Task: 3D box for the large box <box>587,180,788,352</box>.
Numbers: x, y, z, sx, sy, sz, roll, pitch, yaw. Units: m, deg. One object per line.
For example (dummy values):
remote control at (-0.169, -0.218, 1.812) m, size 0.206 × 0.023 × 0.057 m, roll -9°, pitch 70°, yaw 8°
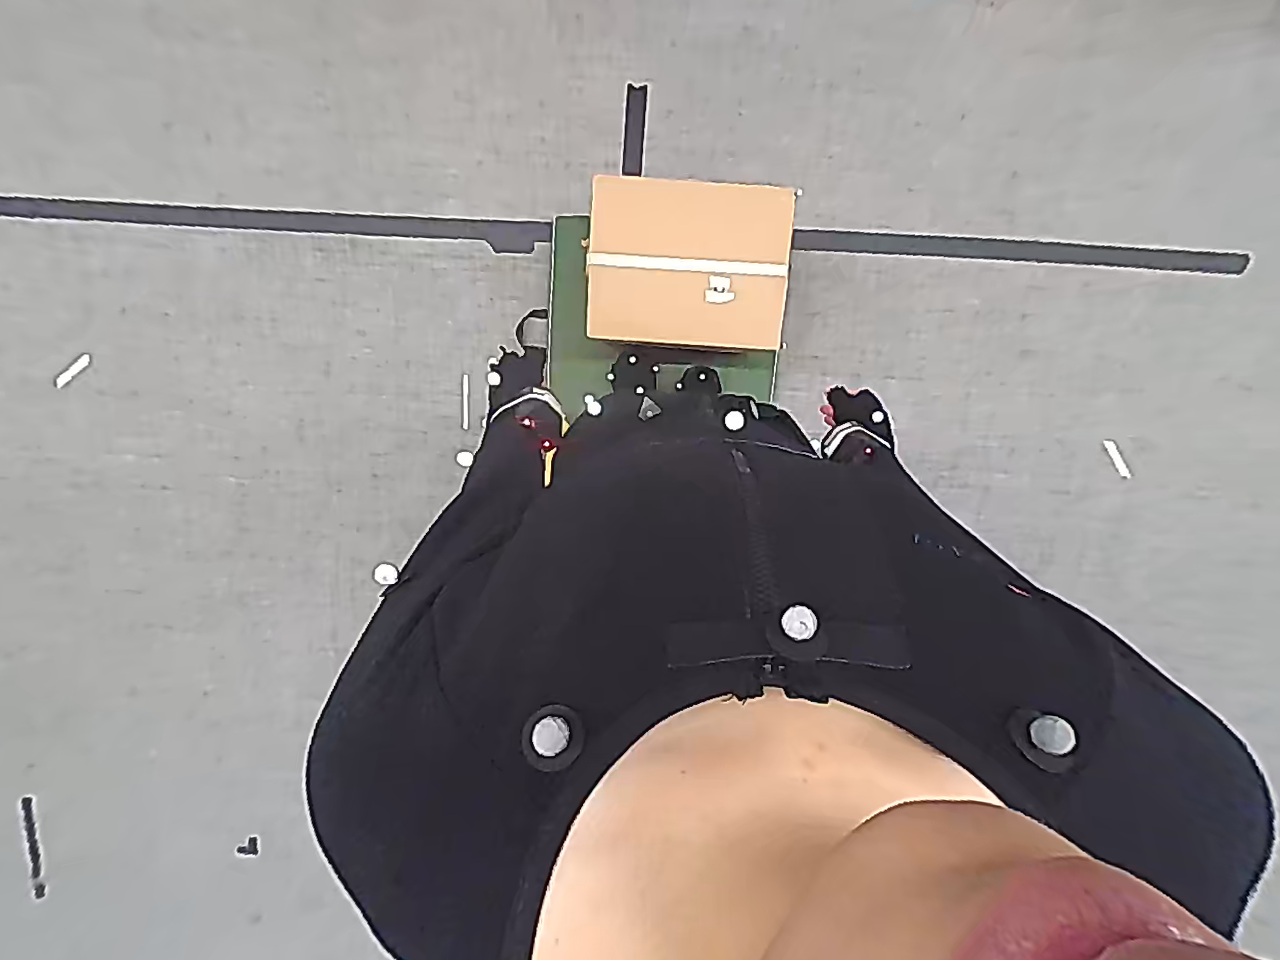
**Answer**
large box at (0.089, -0.466, 1.251) m, size 0.408 × 0.320 × 0.320 m, roll 3°, pitch 102°, yaw -1°
